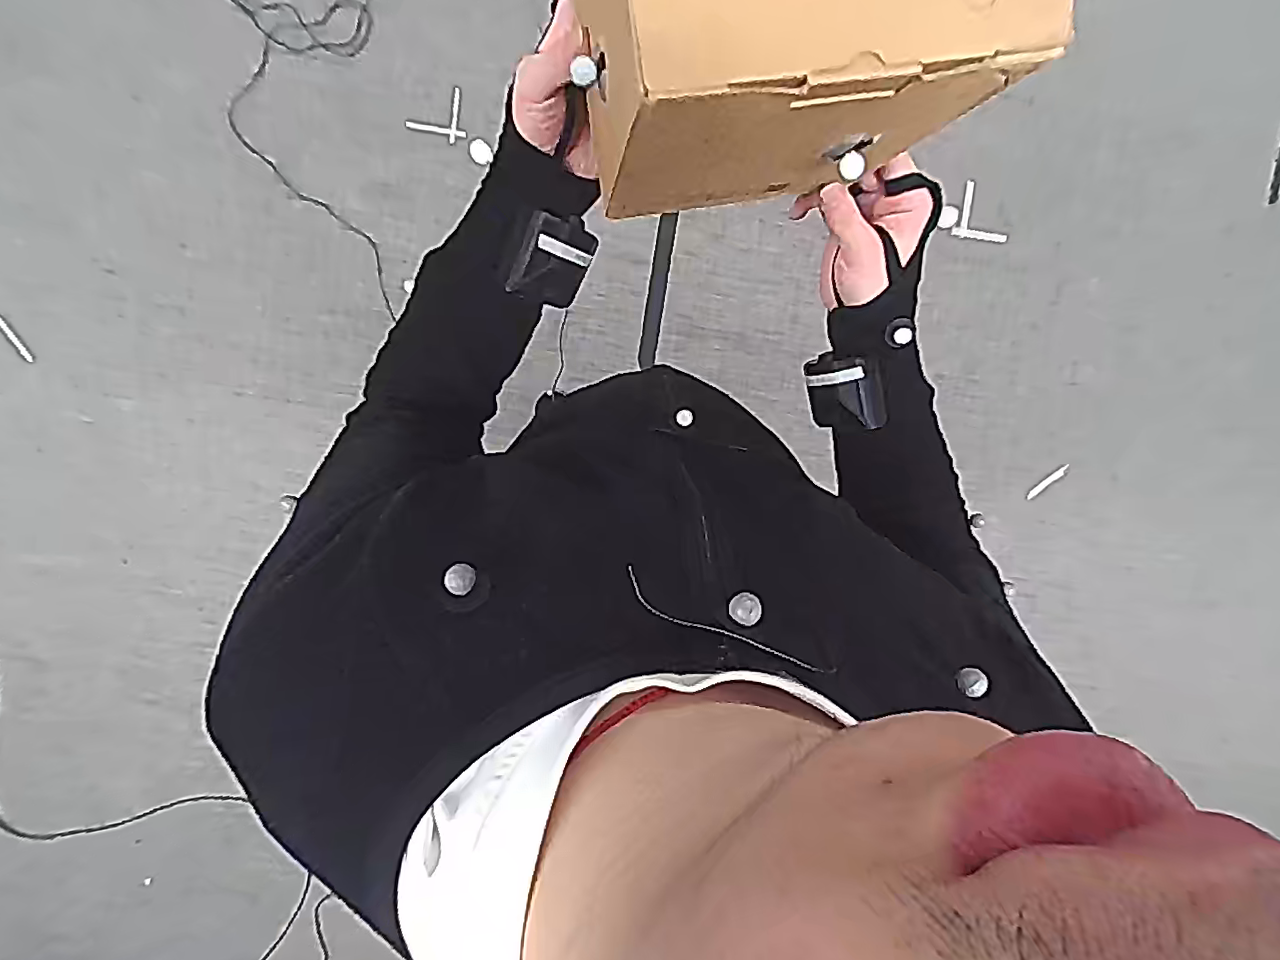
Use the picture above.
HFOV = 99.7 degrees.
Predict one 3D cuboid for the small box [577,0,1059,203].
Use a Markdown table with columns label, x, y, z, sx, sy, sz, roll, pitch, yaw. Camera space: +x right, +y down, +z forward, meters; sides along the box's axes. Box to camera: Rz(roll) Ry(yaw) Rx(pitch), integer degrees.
| label | x | y | z | sx | sy | sz | roll | pitch | yaw |
| --- | --- | --- | --- | --- | --- | --- | --- | --- | --- |
| small box | 0.059 | -0.250 | 0.261 | 0.168 | 0.176 | 0.179 | -11 | 104 | -7 |
